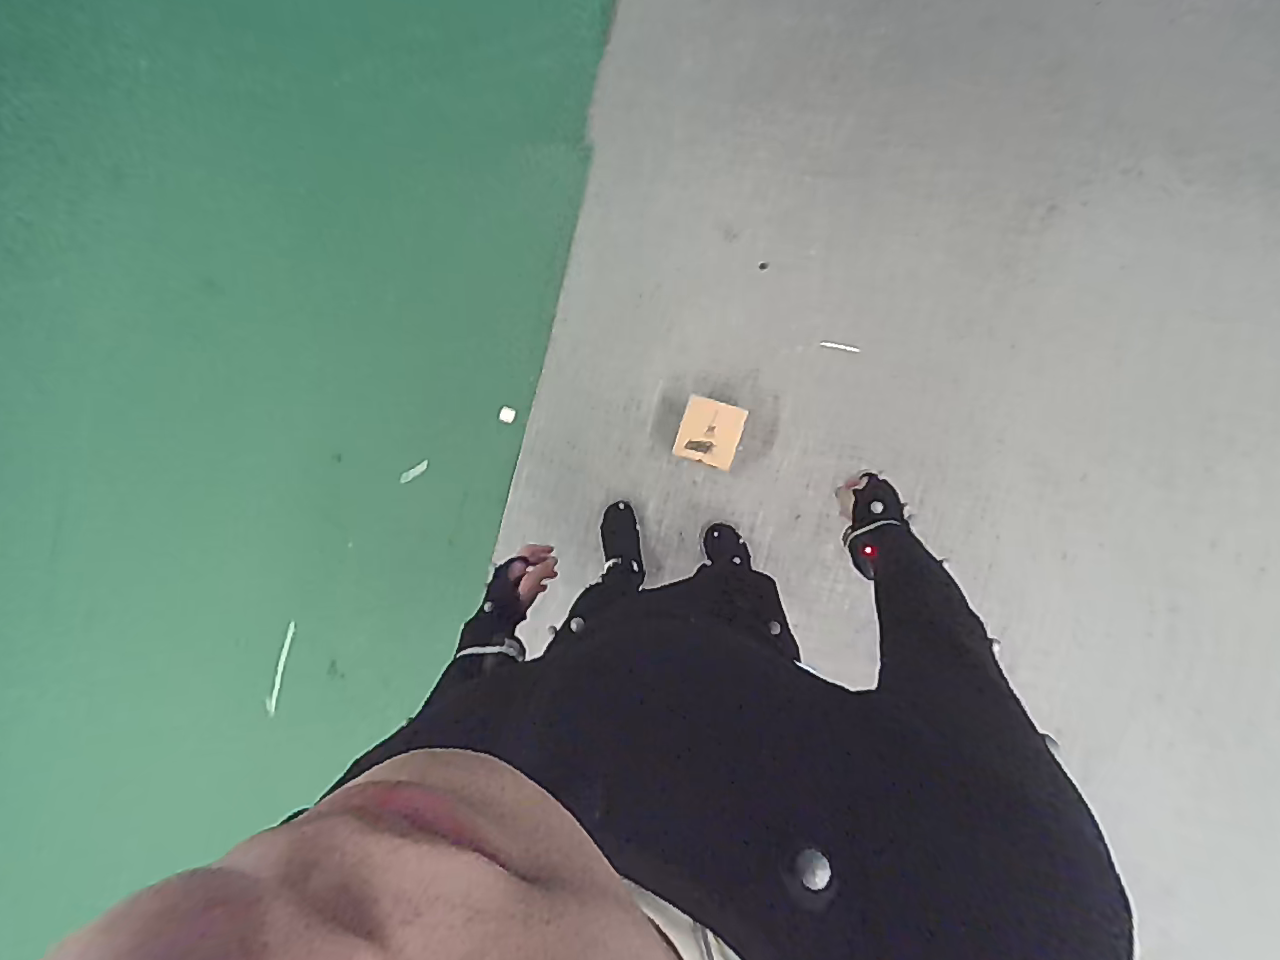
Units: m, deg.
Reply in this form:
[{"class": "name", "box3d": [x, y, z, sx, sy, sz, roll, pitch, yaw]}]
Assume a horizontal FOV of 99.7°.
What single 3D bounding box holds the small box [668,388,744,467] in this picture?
[{"class": "small box", "box3d": [0.191, -0.142, 1.542, 0.168, 0.176, 0.179, 20, 91, 8]}]
